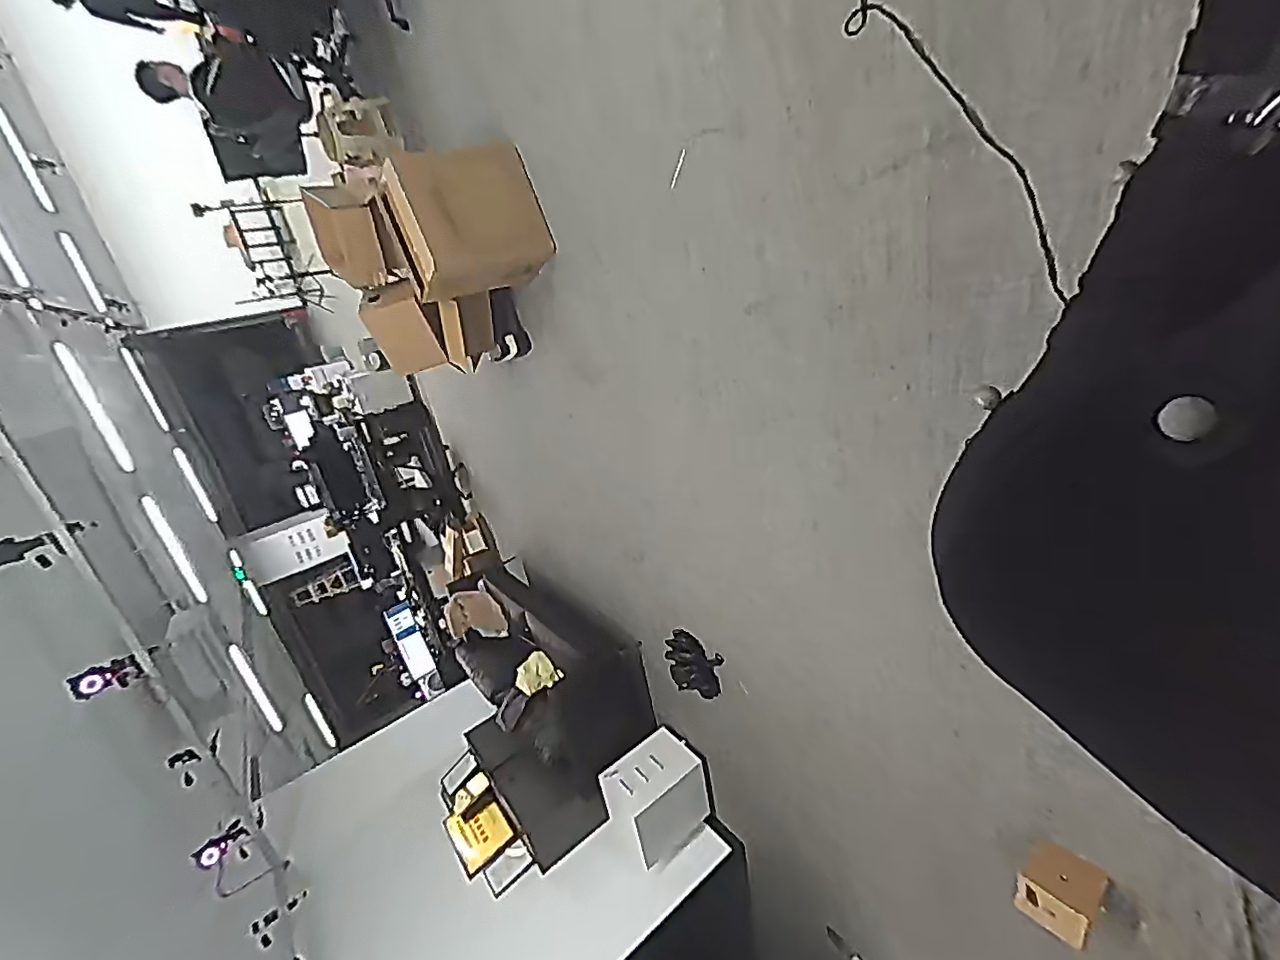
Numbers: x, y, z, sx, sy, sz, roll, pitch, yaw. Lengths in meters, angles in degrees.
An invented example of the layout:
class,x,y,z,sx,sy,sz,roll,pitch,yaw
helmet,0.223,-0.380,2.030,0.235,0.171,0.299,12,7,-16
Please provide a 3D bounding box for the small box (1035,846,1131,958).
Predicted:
class,x,y,z,sx,sy,sz,roll,pitch,yaw
small box,1.322,1.245,1.618,0.179,0.176,0.168,16,124,54
